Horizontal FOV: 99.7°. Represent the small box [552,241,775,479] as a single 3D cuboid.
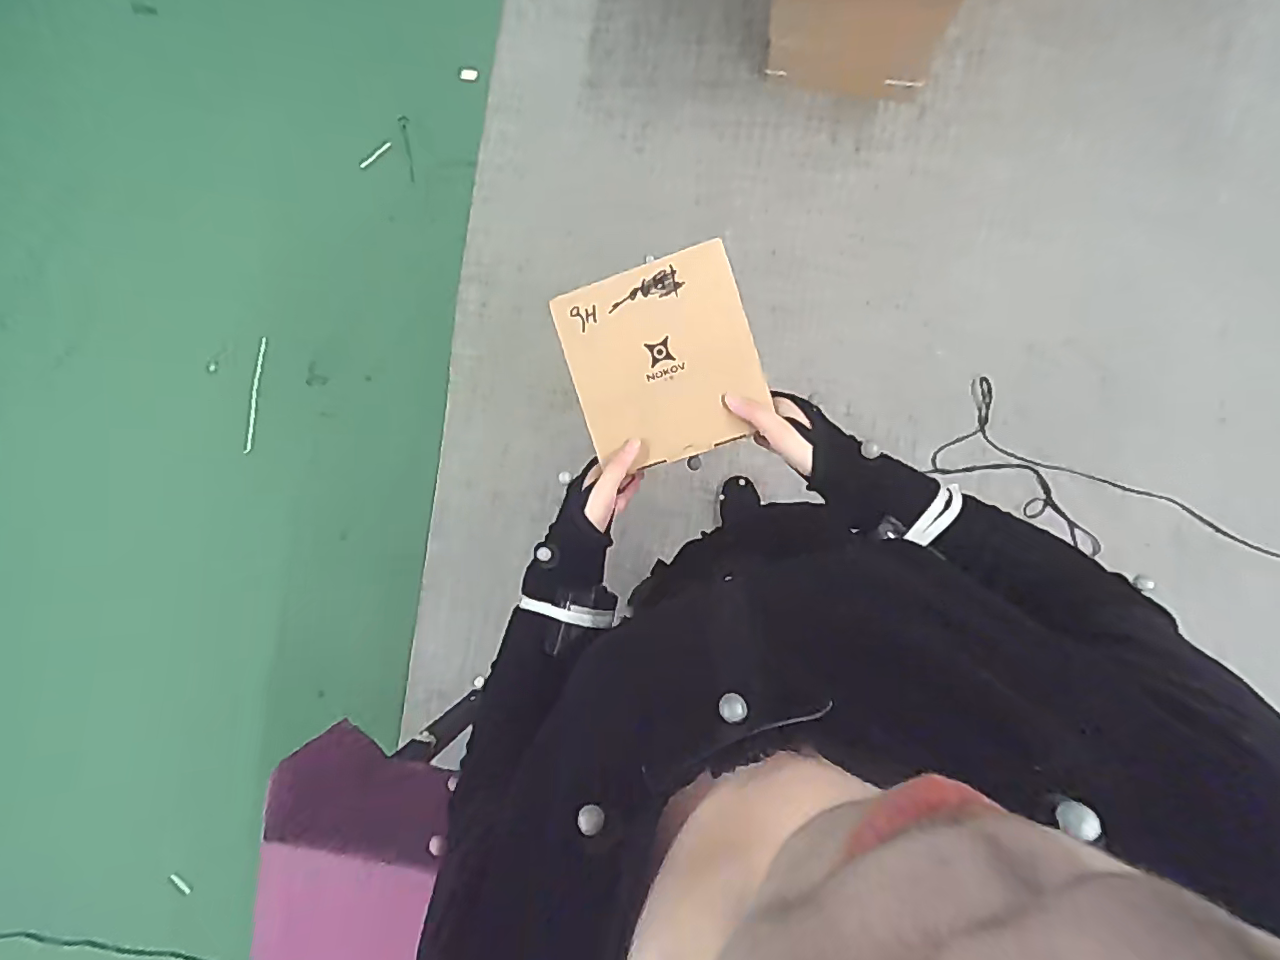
[{"bbox_3d":[0.029,-0.111,0.563,0.168,0.176,0.179,-17,92,7],"label":"small box"}]
